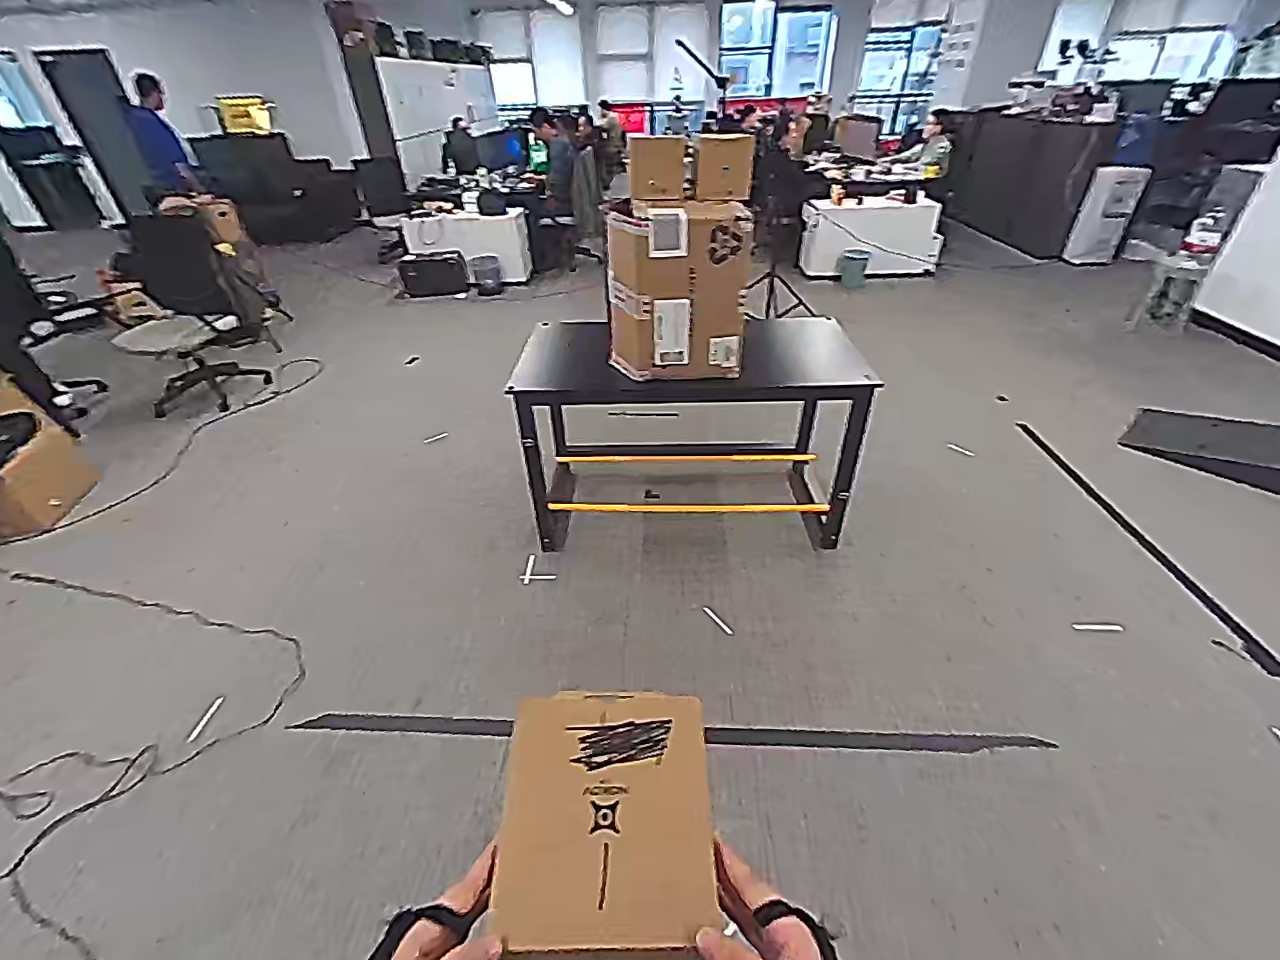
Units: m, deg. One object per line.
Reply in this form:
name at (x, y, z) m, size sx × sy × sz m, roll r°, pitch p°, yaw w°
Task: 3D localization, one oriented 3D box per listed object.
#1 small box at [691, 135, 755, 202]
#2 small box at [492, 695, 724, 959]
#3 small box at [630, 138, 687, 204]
small box at (0.254, -0.976, 1.694) m, size 0.168 × 0.176 × 0.179 m, roll -1°, pitch 36°, yaw -3°
small box at (-0.023, 0.316, 0.490) m, size 0.168 × 0.176 × 0.179 m, roll 0°, pitch 45°, yaw 0°
small box at (0.054, -0.972, 1.695) m, size 0.168 × 0.176 × 0.179 m, roll -3°, pitch 34°, yaw -3°
